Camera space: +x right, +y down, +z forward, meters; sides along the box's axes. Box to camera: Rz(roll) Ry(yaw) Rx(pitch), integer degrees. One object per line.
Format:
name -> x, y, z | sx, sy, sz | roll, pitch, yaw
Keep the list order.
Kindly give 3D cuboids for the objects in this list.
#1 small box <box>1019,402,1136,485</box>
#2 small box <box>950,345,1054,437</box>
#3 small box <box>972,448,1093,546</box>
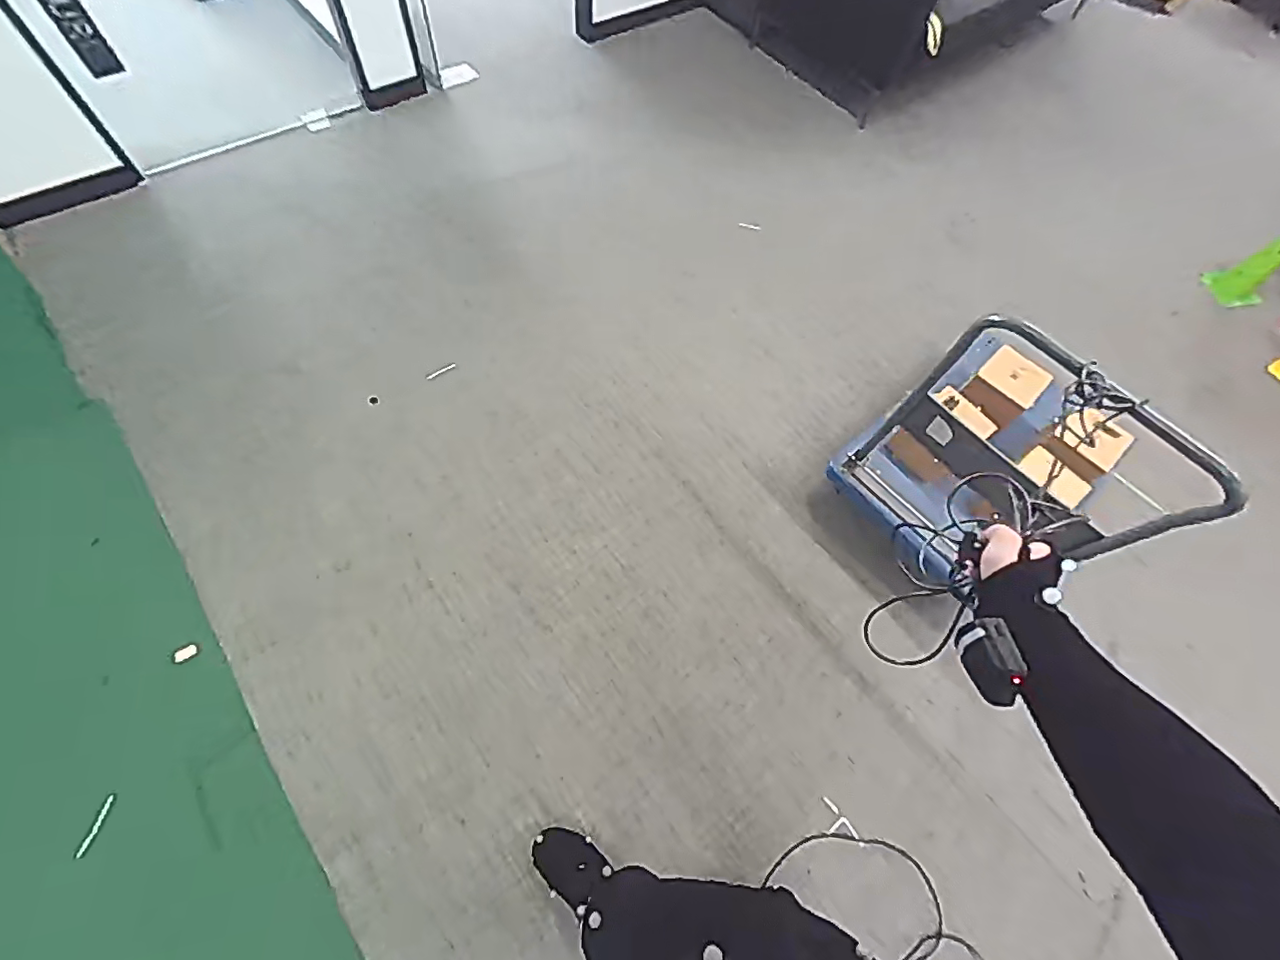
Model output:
small box -> 1.245, -0.084, 1.551 | 0.179, 0.176, 0.168 | -38, 71, -20
small box -> 1.077, -0.263, 1.628 | 0.179, 0.176, 0.168 | -40, 73, -21
small box -> 1.055, 0.049, 1.470 | 0.179, 0.176, 0.168 | -35, 71, -19
